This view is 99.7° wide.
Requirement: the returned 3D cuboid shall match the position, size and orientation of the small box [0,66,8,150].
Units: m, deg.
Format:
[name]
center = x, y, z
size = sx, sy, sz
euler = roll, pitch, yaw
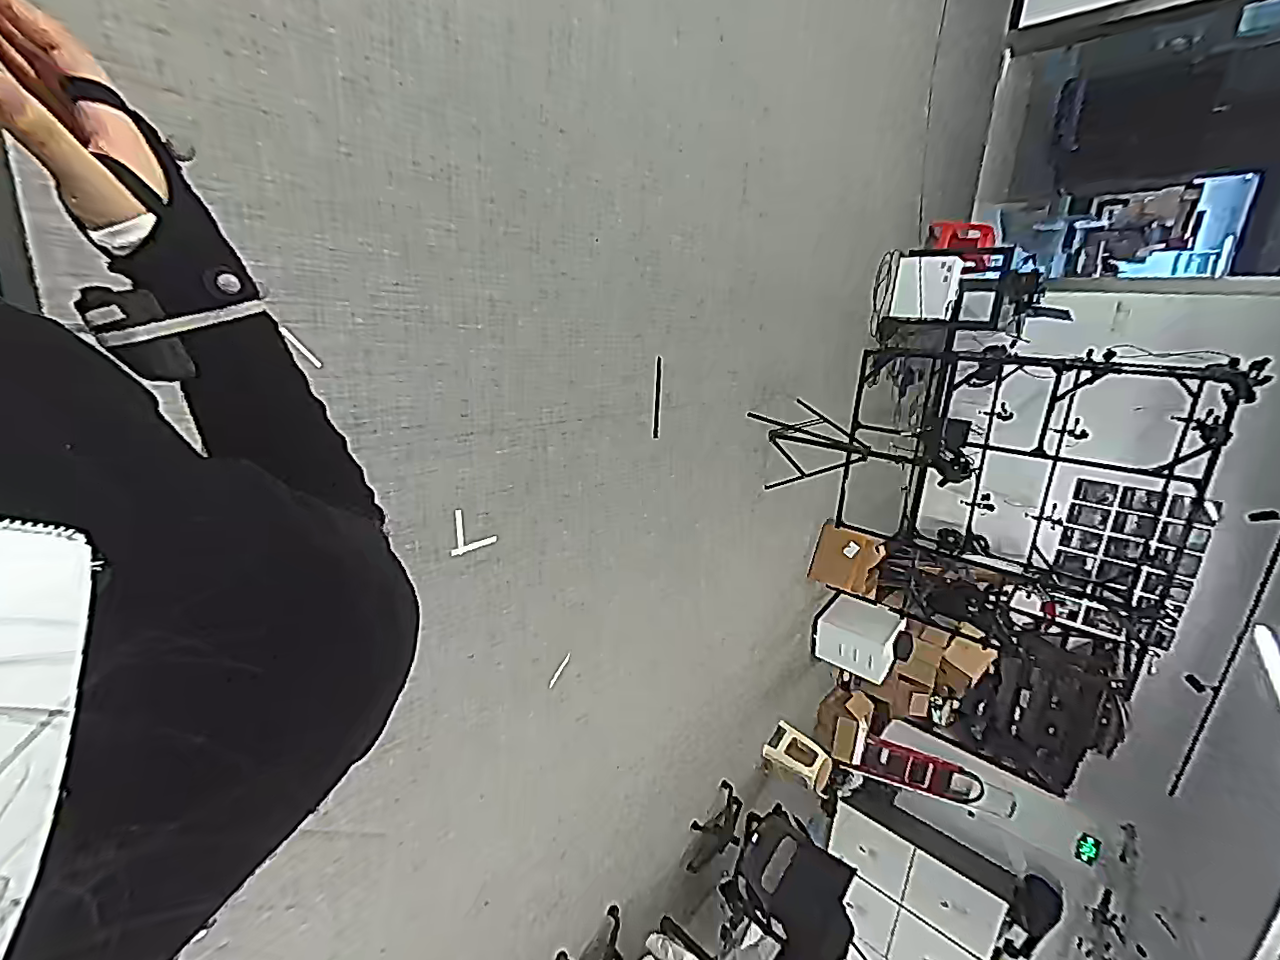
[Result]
[small box]
center = -0.412, -0.264, 0.233
size = 0.168, 0.176, 0.179
euler = -8, 111, -49
